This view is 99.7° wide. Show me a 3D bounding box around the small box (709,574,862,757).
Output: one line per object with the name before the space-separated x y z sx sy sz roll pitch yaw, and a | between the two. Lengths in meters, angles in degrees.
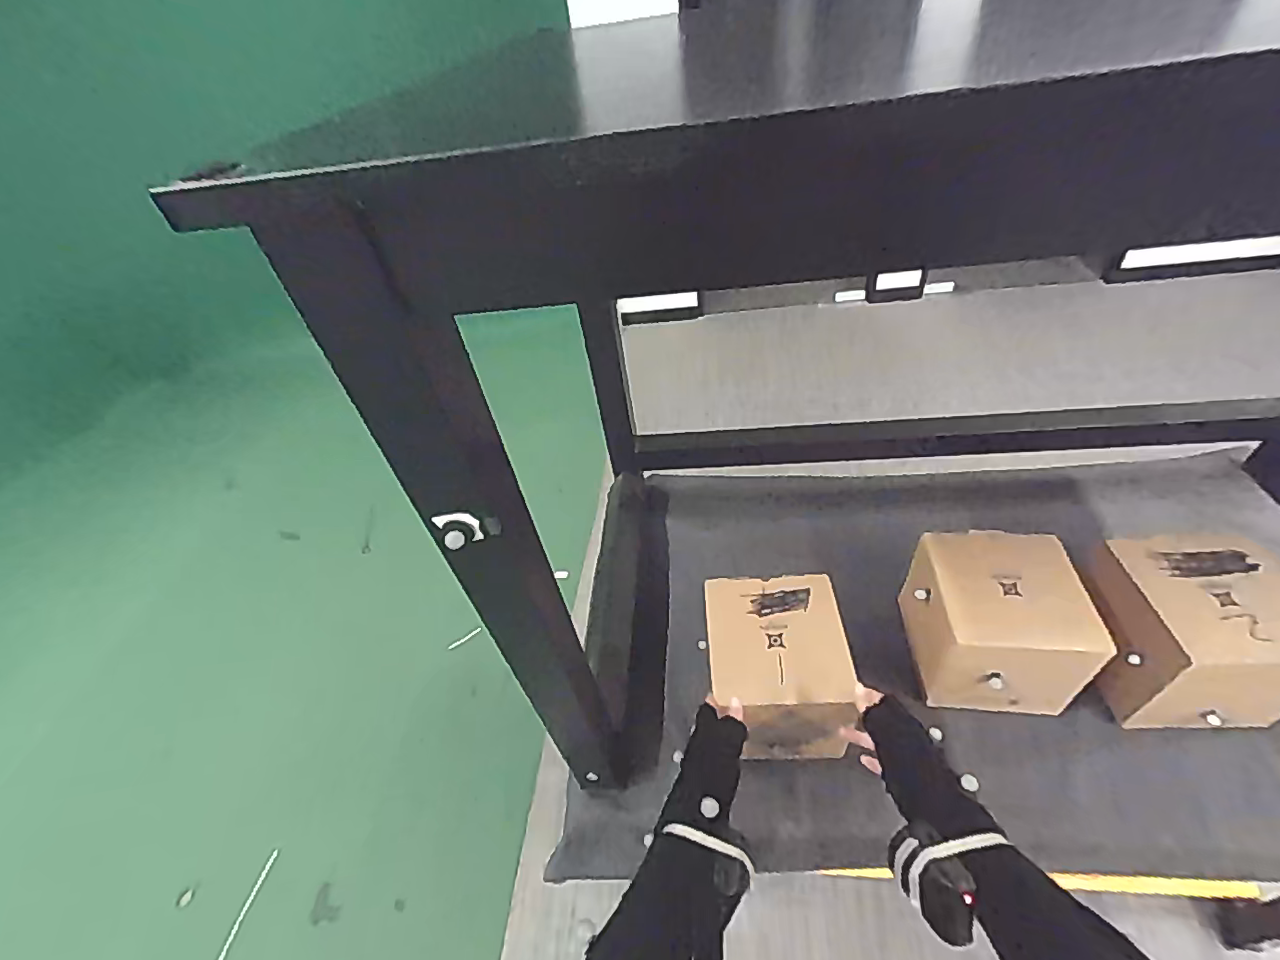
small box | 0.178 0.247 0.721 0.168 0.176 0.179 -4 44 6

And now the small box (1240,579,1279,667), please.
small box | 0.909 0.191 0.641 0.168 0.176 0.179 -4 42 7

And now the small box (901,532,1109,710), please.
small box | 0.470 0.190 0.732 0.168 0.176 0.179 0 43 11
